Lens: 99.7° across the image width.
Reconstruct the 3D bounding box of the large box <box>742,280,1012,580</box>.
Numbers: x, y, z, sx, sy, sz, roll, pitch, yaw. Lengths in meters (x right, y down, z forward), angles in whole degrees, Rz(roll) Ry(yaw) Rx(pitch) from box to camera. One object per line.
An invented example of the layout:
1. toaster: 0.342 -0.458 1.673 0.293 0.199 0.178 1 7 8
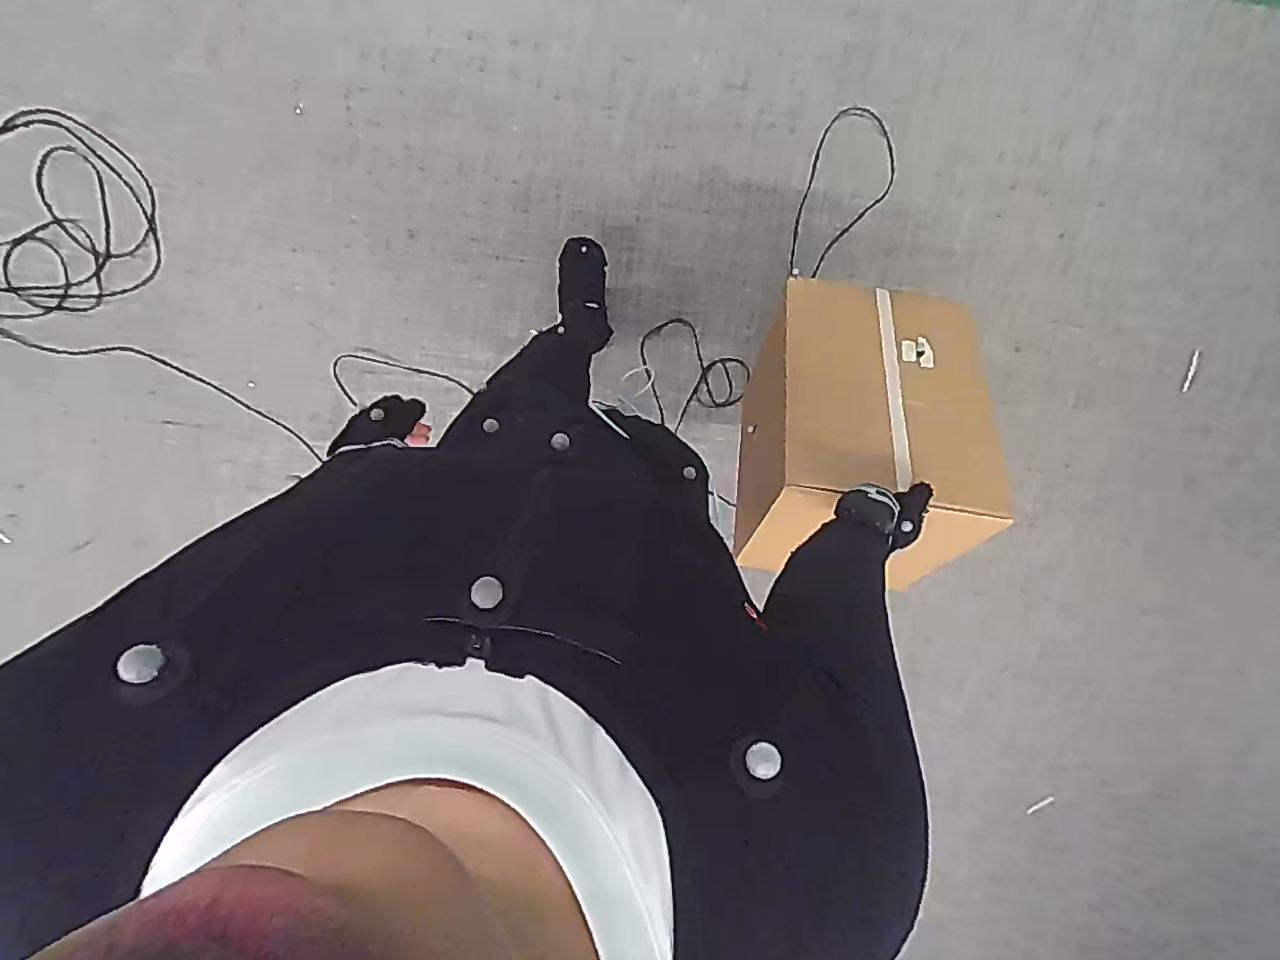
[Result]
1. large box: 0.368 -0.075 0.951 0.320 0.320 0.408 10 61 0
